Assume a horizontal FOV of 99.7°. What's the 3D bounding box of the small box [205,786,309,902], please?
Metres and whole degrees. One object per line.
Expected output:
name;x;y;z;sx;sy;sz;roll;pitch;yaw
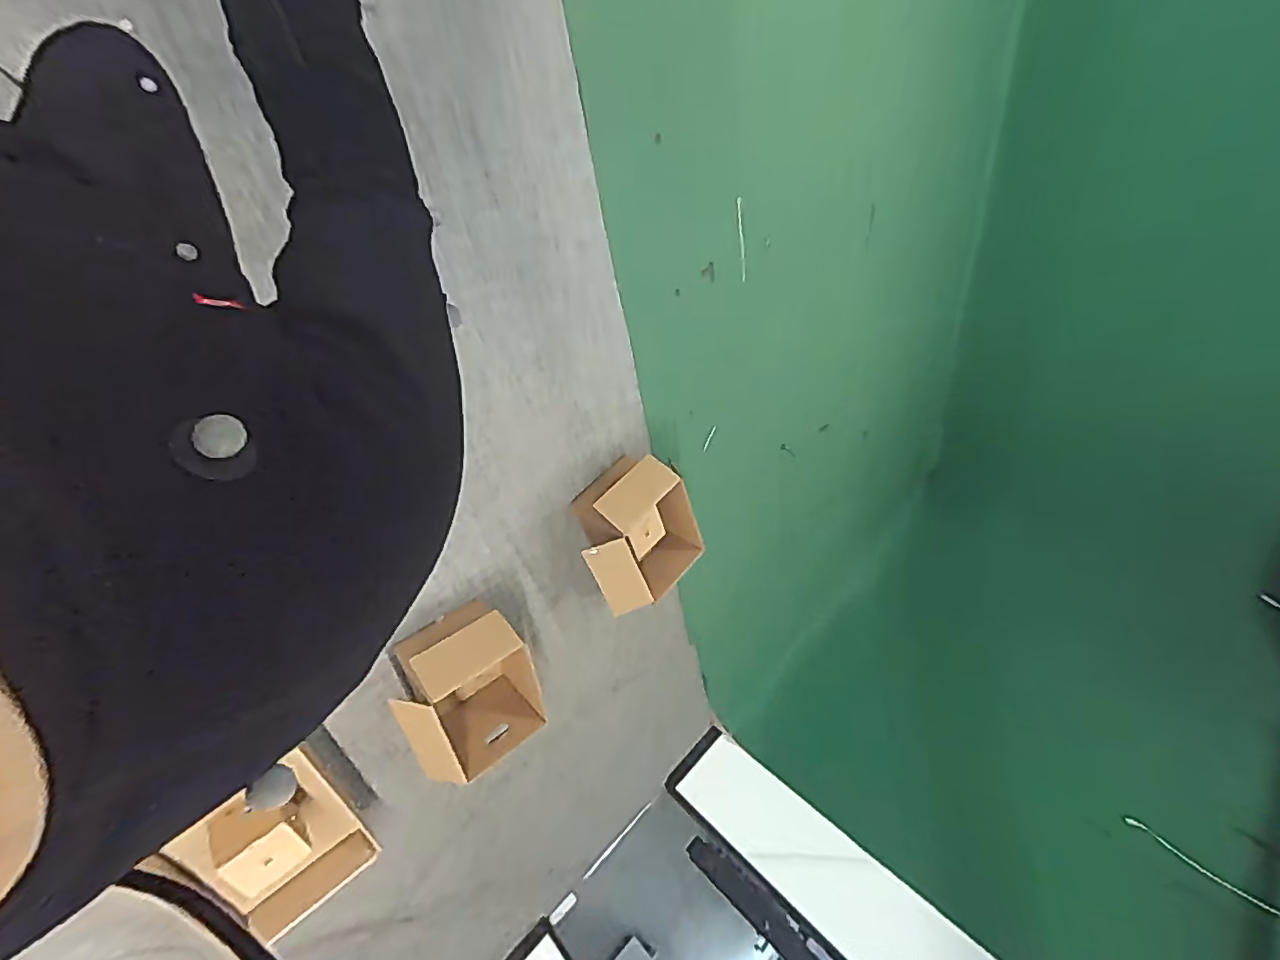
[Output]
small box;-1.044;0.983;1.475;0.168;0.176;0.179;-31;129;-30
